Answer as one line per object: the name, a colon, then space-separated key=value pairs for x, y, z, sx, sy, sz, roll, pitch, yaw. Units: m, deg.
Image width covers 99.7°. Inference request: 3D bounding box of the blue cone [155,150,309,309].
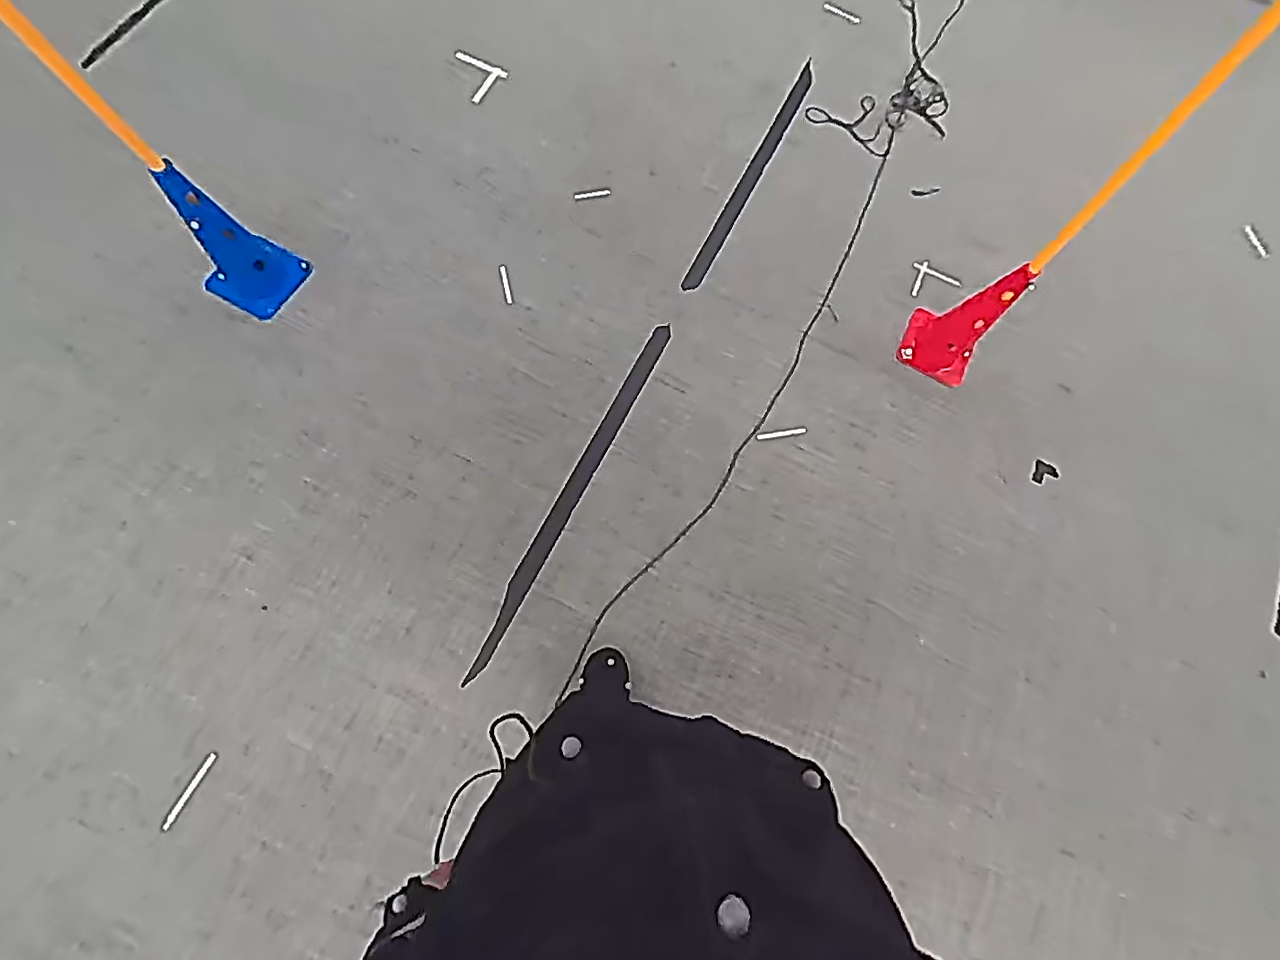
blue cone: x=-0.985 y=-0.594 z=1.266 sx=0.193 sy=0.380 sz=0.192 roll=30 pitch=73 yaw=3
